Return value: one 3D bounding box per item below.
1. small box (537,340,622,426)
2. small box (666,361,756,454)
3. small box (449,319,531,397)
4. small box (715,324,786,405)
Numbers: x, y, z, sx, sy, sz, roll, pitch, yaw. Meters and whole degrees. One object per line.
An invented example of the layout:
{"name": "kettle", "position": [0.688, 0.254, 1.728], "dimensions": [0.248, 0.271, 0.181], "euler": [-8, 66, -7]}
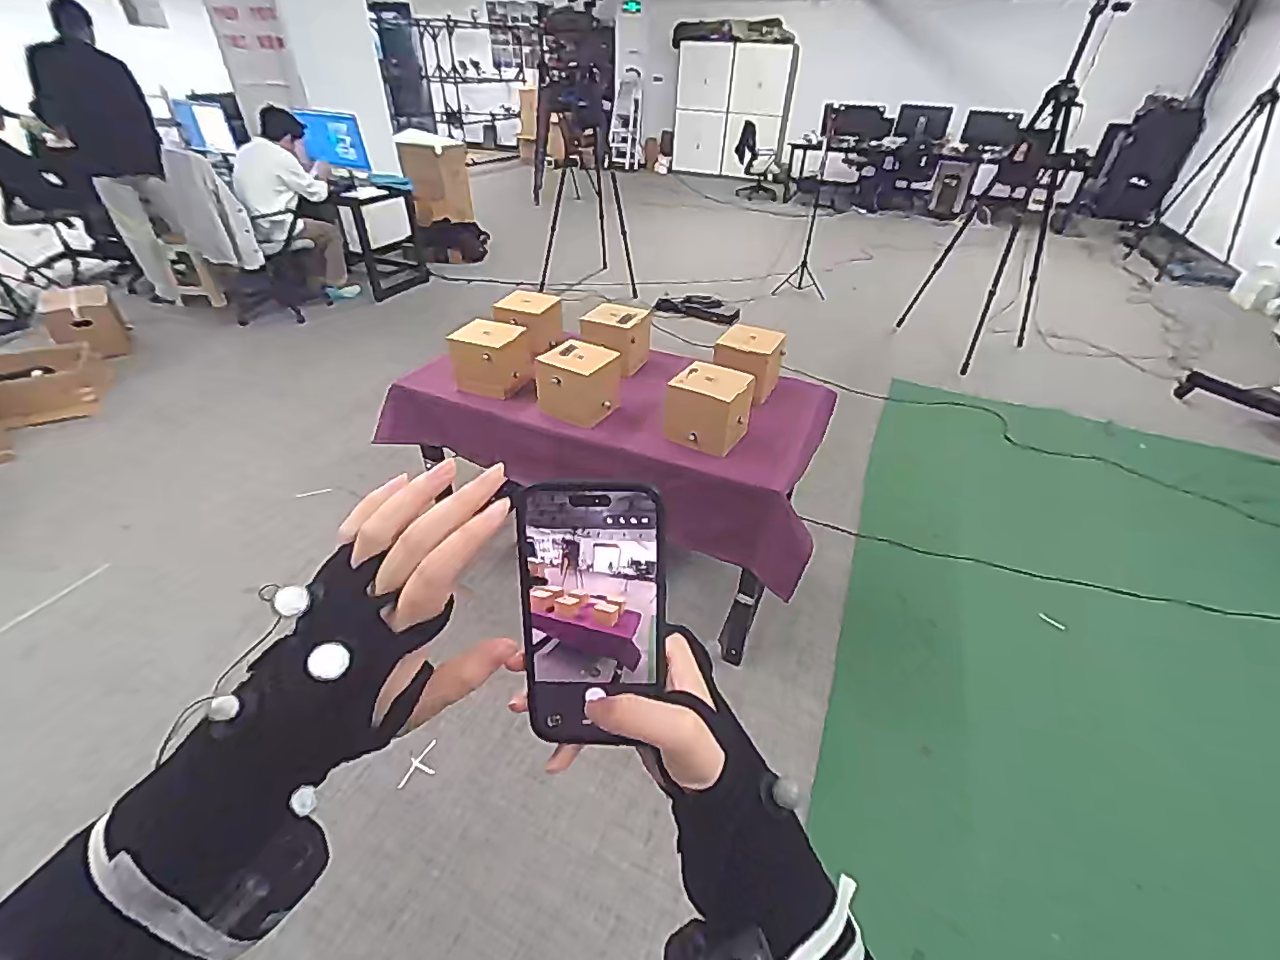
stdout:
{"name": "small box", "position": [-0.166, -0.272, 1.518], "dimensions": [0.179, 0.176, 0.168], "euler": [22, 42, 22]}
{"name": "small box", "position": [0.183, -0.188, 1.426], "dimensions": [0.179, 0.176, 0.168], "euler": [22, 41, 23]}
{"name": "small box", "position": [-0.445, -0.366, 1.628], "dimensions": [0.179, 0.176, 0.168], "euler": [14, 39, 13]}
{"name": "small box", "position": [0.329, -0.354, 1.649], "dimensions": [0.168, 0.176, 0.179], "euler": [19, 41, 21]}
